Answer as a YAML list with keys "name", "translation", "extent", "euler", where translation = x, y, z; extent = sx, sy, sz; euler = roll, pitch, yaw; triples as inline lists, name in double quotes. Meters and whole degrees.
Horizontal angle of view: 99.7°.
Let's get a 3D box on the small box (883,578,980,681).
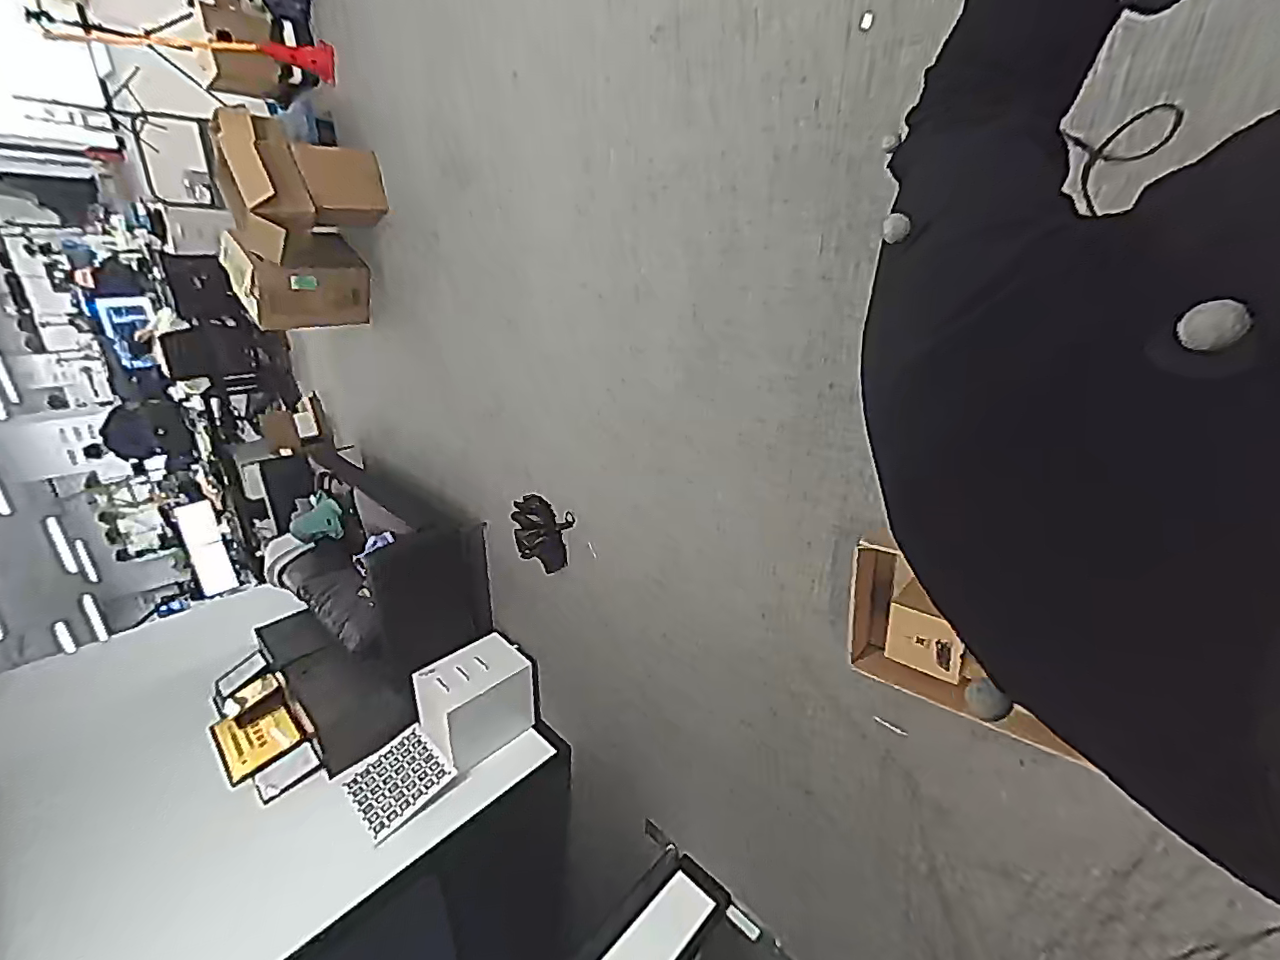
- name: "small box"
  translation: [0.751, 0.374, 1.390]
  extent: [0.179, 0.176, 0.168]
  euler: [16, 117, 41]
